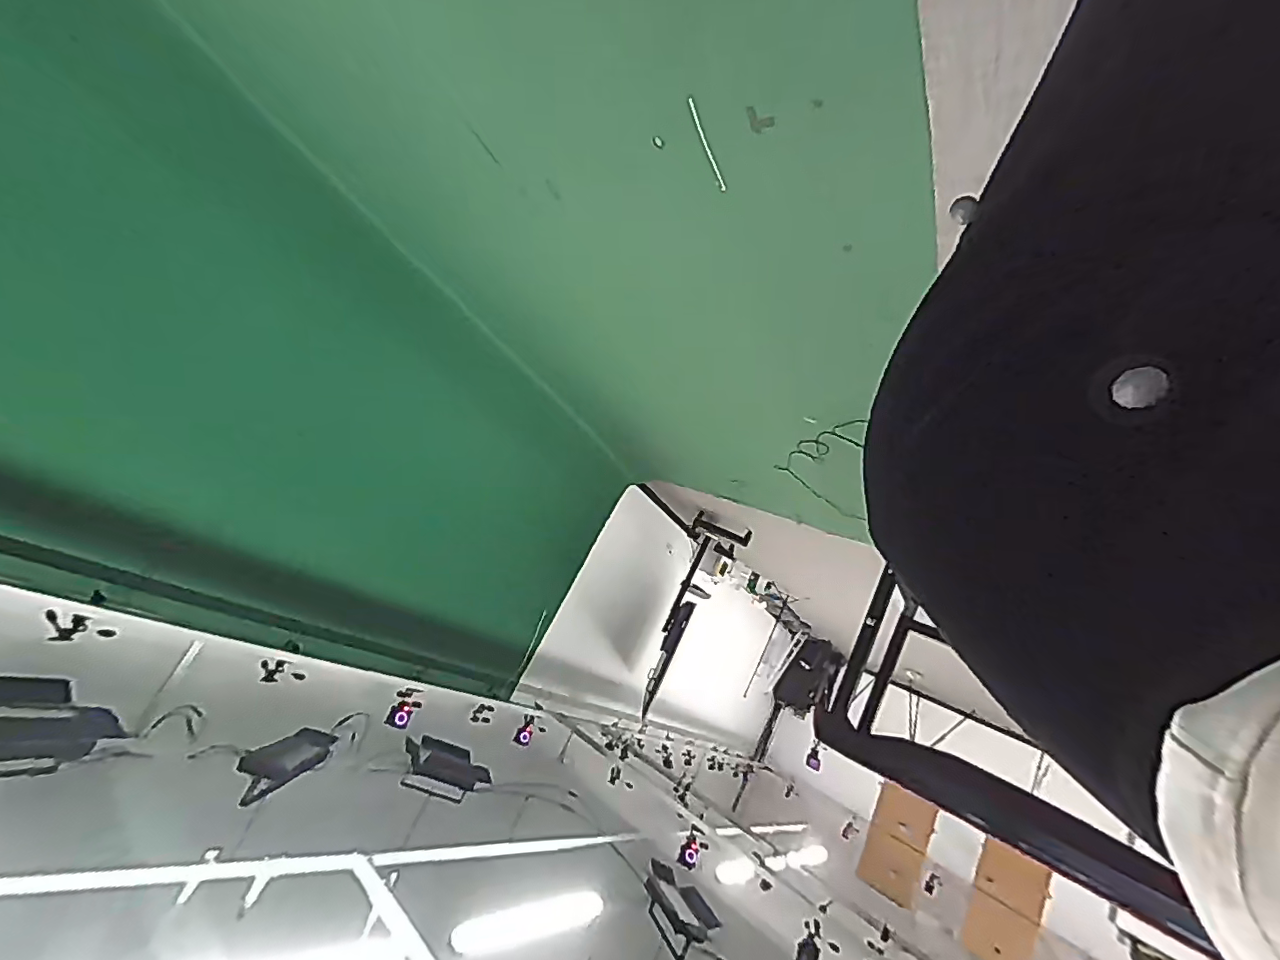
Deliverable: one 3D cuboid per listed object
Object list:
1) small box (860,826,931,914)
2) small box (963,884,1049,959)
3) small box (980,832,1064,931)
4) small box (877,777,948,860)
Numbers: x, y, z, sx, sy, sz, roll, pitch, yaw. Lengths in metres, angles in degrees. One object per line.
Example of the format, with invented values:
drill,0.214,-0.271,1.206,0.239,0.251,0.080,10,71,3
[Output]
small box,0.847,1.273,1.783,0.179,0.176,0.168,16,161,35
small box,1.080,1.346,1.597,0.179,0.176,0.168,17,163,39
small box,1.155,1.203,1.634,0.179,0.176,0.168,17,163,40
small box,0.921,1.132,1.821,0.179,0.176,0.168,18,163,35
